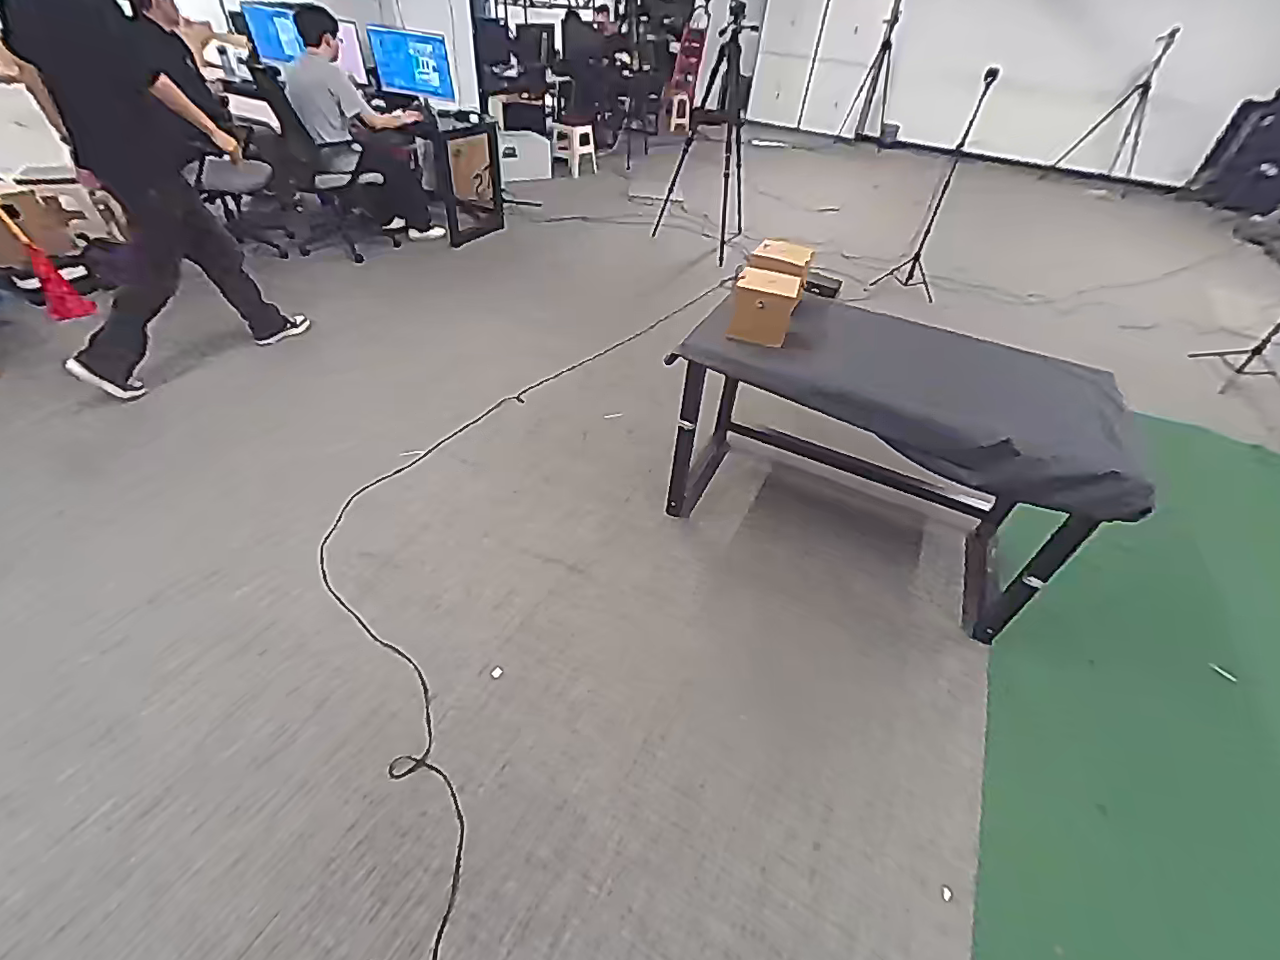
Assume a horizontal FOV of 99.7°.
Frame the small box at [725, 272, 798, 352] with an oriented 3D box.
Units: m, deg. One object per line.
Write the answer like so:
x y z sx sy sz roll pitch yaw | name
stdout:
0.368 -0.513 1.654 0.179 0.176 0.168 16 43 9 | small box

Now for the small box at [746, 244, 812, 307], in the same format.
0.463 -0.681 1.853 0.179 0.176 0.168 22 45 16 | small box
